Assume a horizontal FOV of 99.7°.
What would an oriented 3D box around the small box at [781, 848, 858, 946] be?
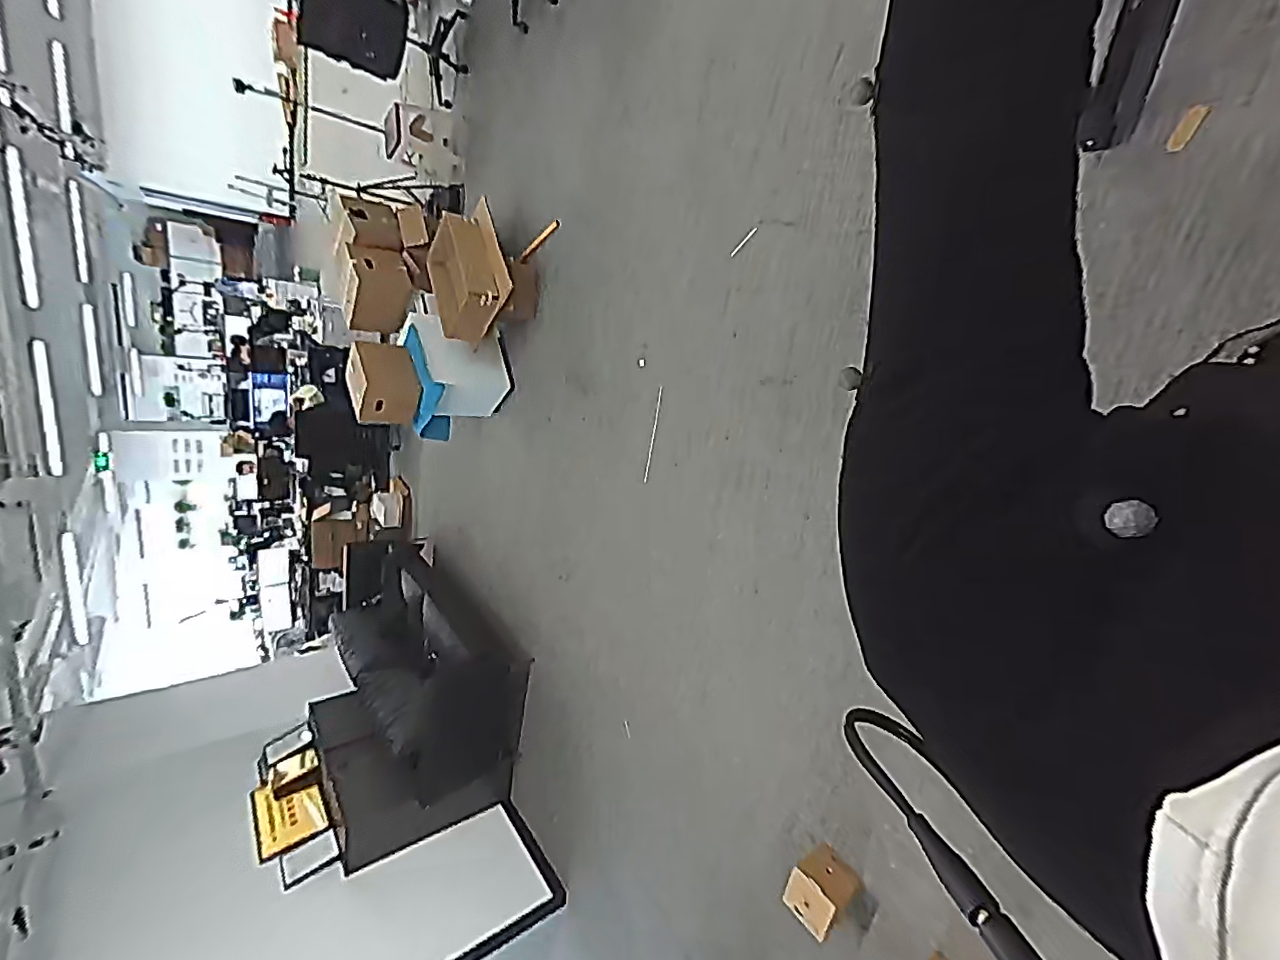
[{"bbox_3d":[0.624,1.426,1.863,0.168,0.176,0.179,31,115,46],"label":"small box"}]
